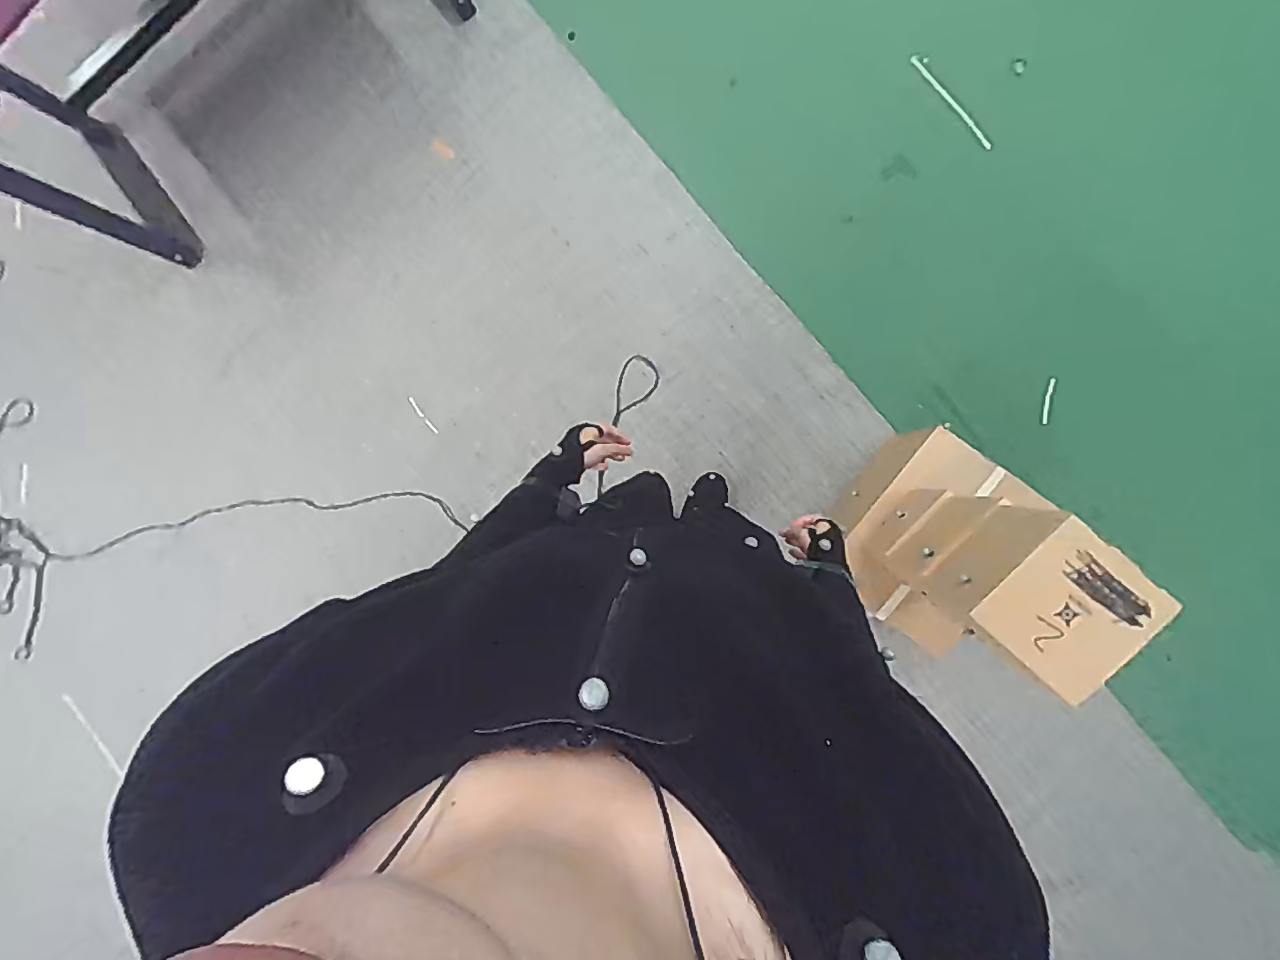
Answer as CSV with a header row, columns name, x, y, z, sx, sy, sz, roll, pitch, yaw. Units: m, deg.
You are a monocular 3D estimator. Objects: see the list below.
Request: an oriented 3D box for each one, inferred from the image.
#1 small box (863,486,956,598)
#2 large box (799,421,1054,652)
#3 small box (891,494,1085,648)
name,x,y,z,sx,sy,sz,roll,pitch,yaw
small box,0.571,0.128,1.054,0.179,0.176,0.168,43,95,5
large box,0.643,0.121,1.295,0.320,0.320,0.408,37,94,4
small box,0.554,0.137,0.893,0.168,0.176,0.179,44,96,5
